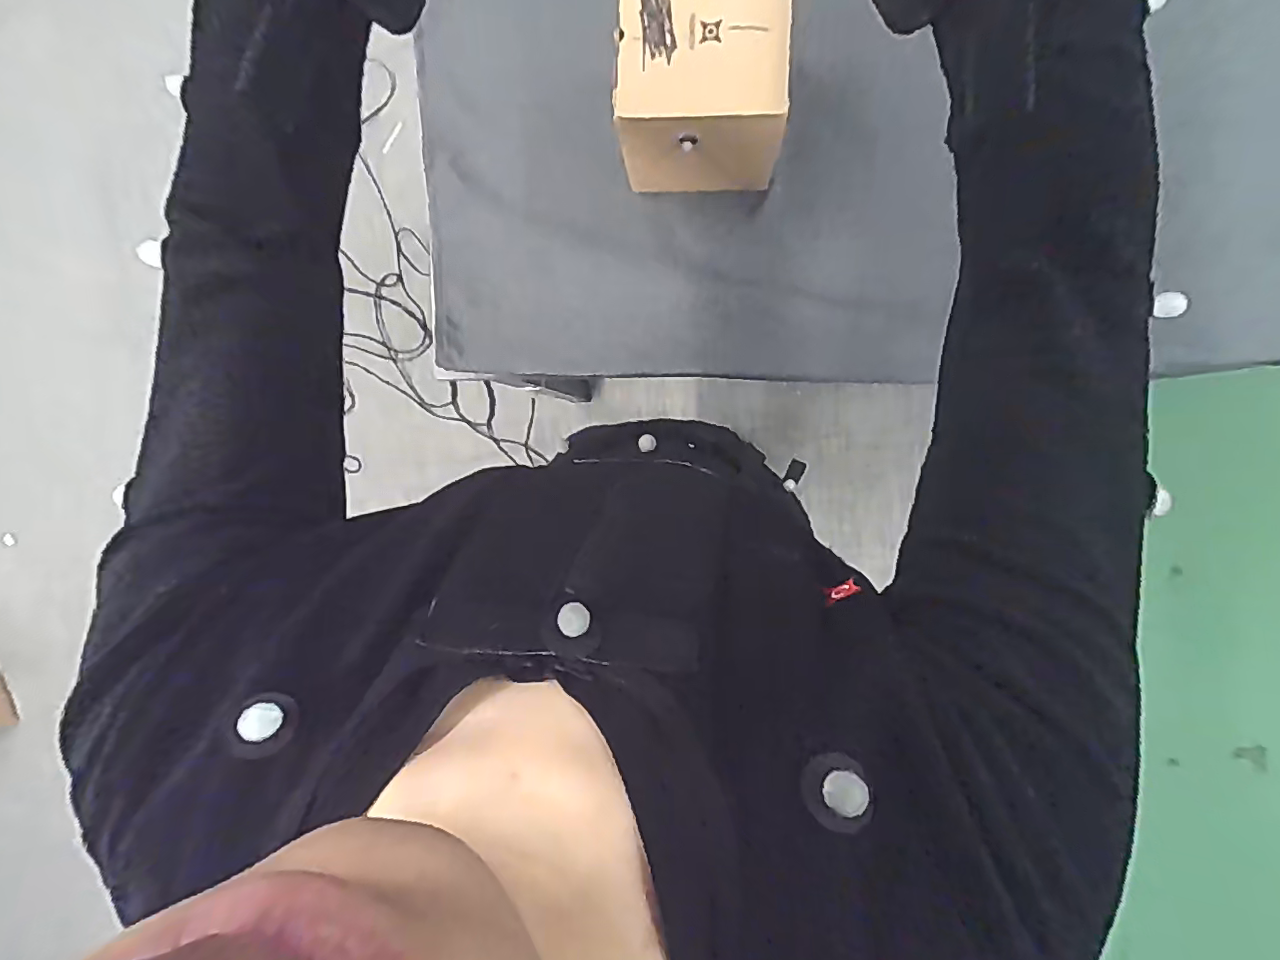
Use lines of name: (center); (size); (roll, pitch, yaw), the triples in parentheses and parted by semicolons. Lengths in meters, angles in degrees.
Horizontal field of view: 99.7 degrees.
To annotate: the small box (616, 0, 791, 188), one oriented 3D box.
small box: (0.071, -0.458, 0.626); (0.179, 0.176, 0.168); (2, 94, 5)
